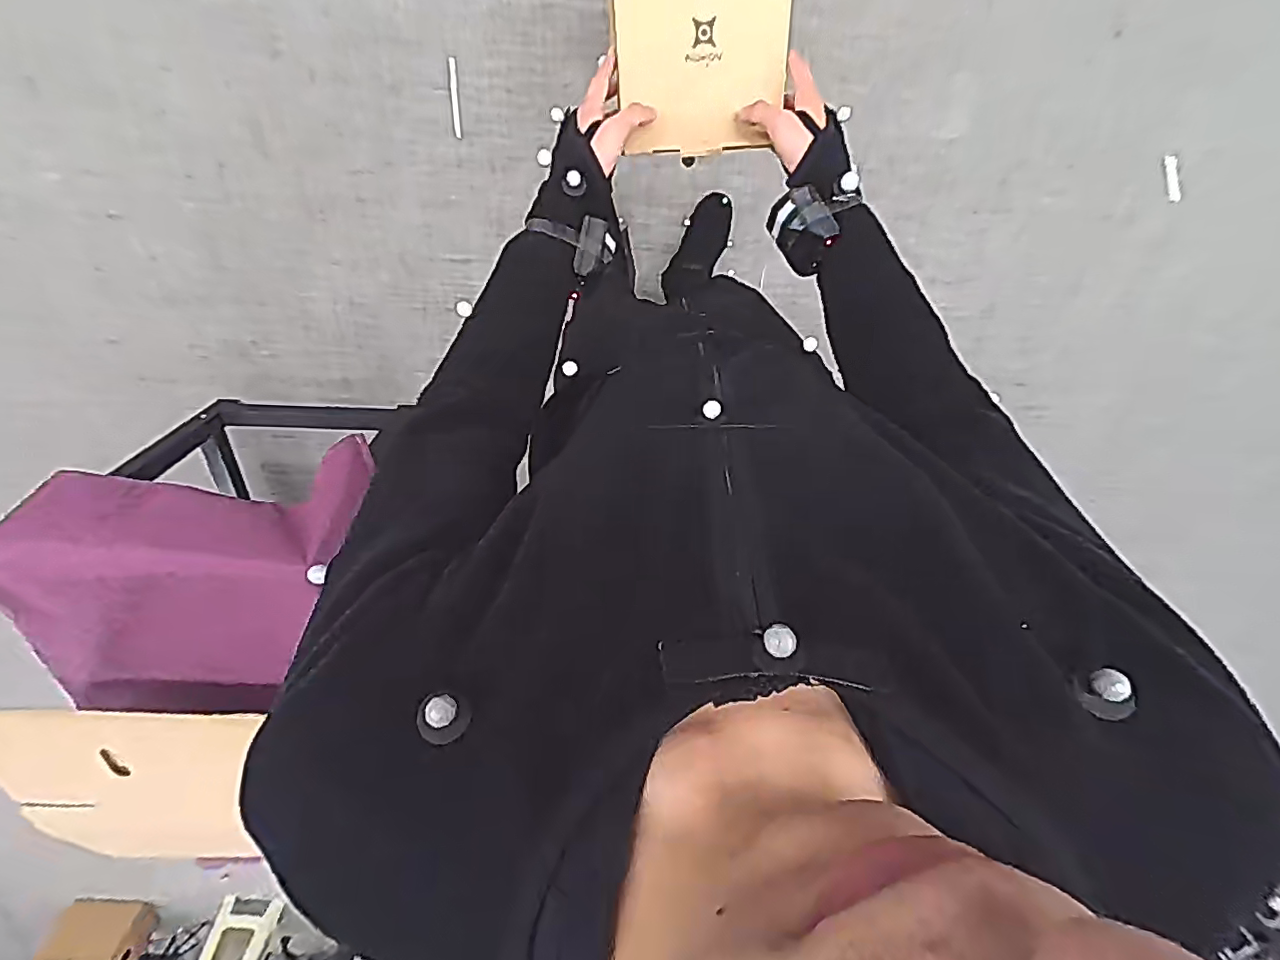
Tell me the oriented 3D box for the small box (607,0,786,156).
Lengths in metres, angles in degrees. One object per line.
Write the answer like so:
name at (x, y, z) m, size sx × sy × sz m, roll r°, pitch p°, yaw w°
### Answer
small box at (0.051, -0.460, 0.583) m, size 0.168 × 0.176 × 0.179 m, roll -4°, pitch 123°, yaw -2°
